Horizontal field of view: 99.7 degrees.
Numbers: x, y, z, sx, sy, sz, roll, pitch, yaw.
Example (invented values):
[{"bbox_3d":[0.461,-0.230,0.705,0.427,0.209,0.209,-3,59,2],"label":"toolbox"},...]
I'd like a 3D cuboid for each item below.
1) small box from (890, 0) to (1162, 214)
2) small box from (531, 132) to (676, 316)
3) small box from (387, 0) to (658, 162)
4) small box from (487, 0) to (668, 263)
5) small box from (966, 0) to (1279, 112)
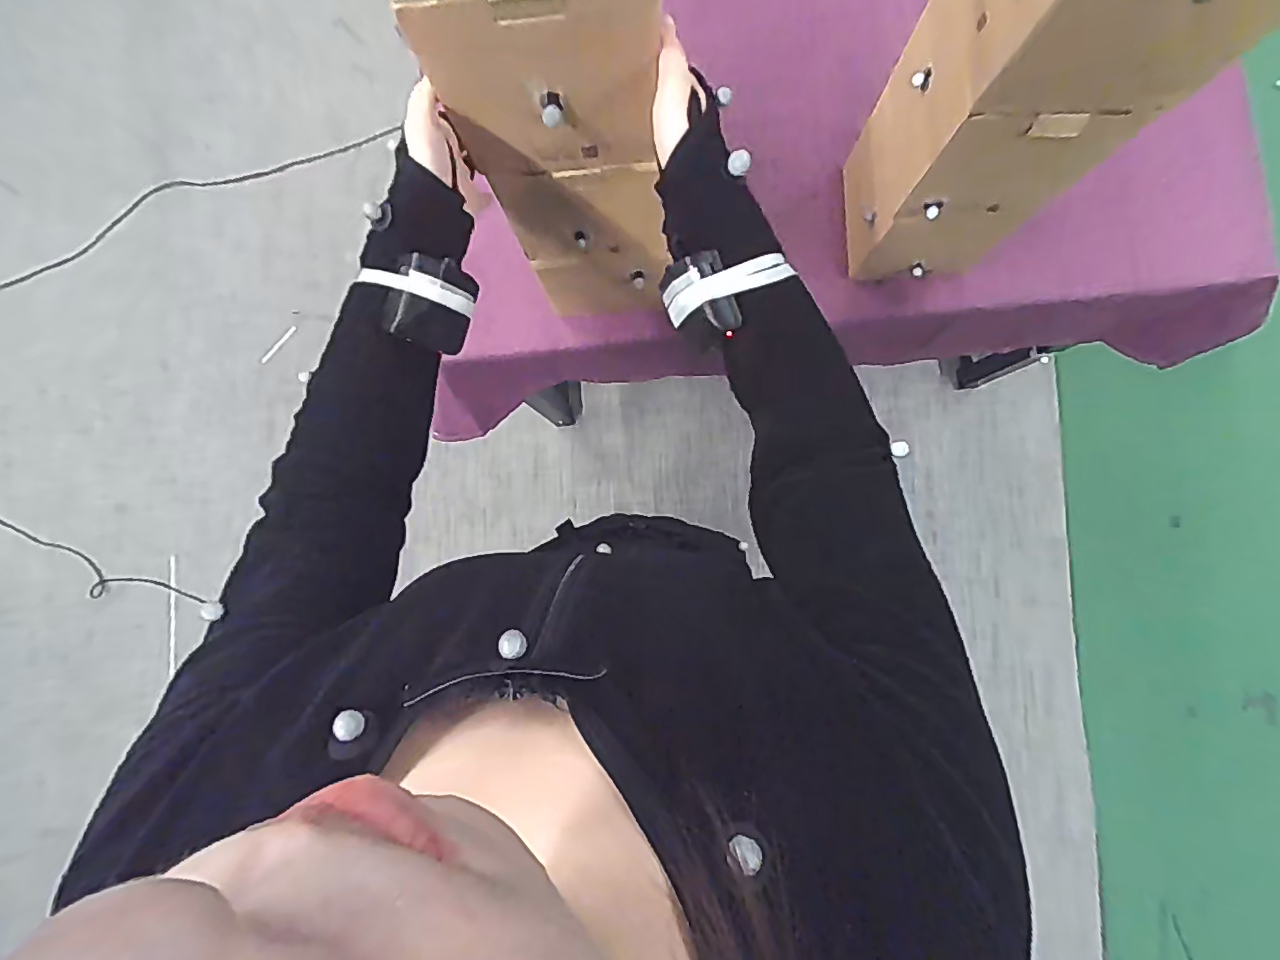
[{"bbox_3d":[0.367,-0.391,0.545,0.168,0.176,0.179,1,86,4],"label":"small box"},{"bbox_3d":[-0.042,-0.334,0.733,0.179,0.176,0.168,-2,85,4],"label":"small box"},{"bbox_3d":[-0.074,-0.369,0.409,0.168,0.176,0.179,-4,87,3],"label":"small box"},{"bbox_3d":[-0.055,-0.355,0.572,0.168,0.176,0.179,-2,87,4],"label":"small box"},{"bbox_3d":[0.359,-0.395,0.382,0.179,0.176,0.168,2,88,3],"label":"small box"}]
